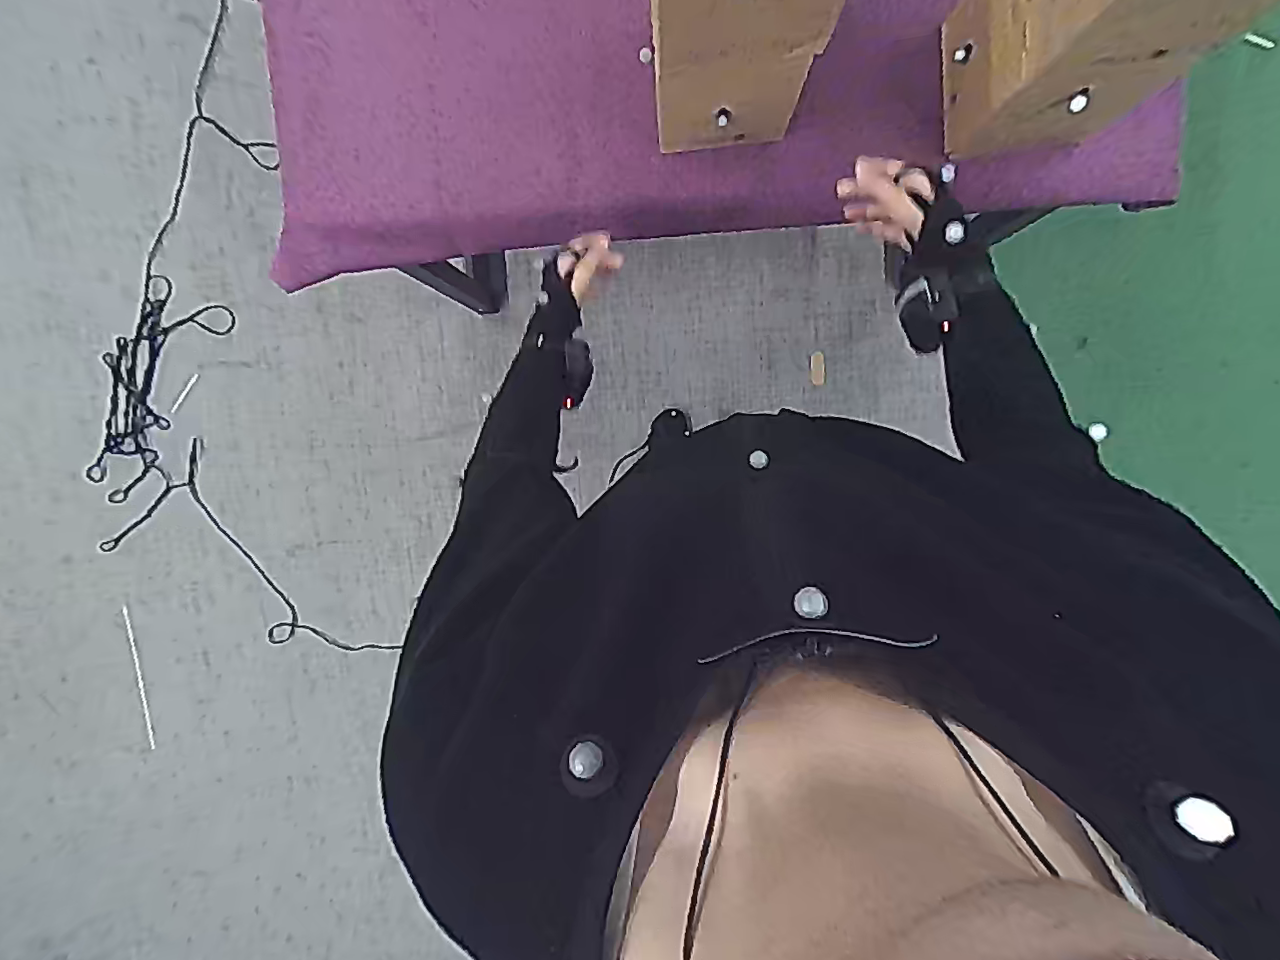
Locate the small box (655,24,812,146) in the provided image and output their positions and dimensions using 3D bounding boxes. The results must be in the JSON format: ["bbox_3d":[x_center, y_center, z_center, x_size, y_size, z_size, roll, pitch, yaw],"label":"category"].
[{"bbox_3d":[0.103,-0.528,0.645,0.168,0.176,0.179,-3,95,5],"label":"small box"}]

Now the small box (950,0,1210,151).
[{"bbox_3d":[0.482,-0.507,0.614,0.179,0.176,0.168,-5,97,7],"label":"small box"}]

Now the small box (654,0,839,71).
[{"bbox_3d":[0.094,-0.507,0.484,0.179,0.176,0.168,-4,96,5],"label":"small box"}]

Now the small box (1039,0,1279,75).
[{"bbox_3d":[0.468,-0.491,0.451,0.168,0.176,0.179,-4,96,8],"label":"small box"}]
